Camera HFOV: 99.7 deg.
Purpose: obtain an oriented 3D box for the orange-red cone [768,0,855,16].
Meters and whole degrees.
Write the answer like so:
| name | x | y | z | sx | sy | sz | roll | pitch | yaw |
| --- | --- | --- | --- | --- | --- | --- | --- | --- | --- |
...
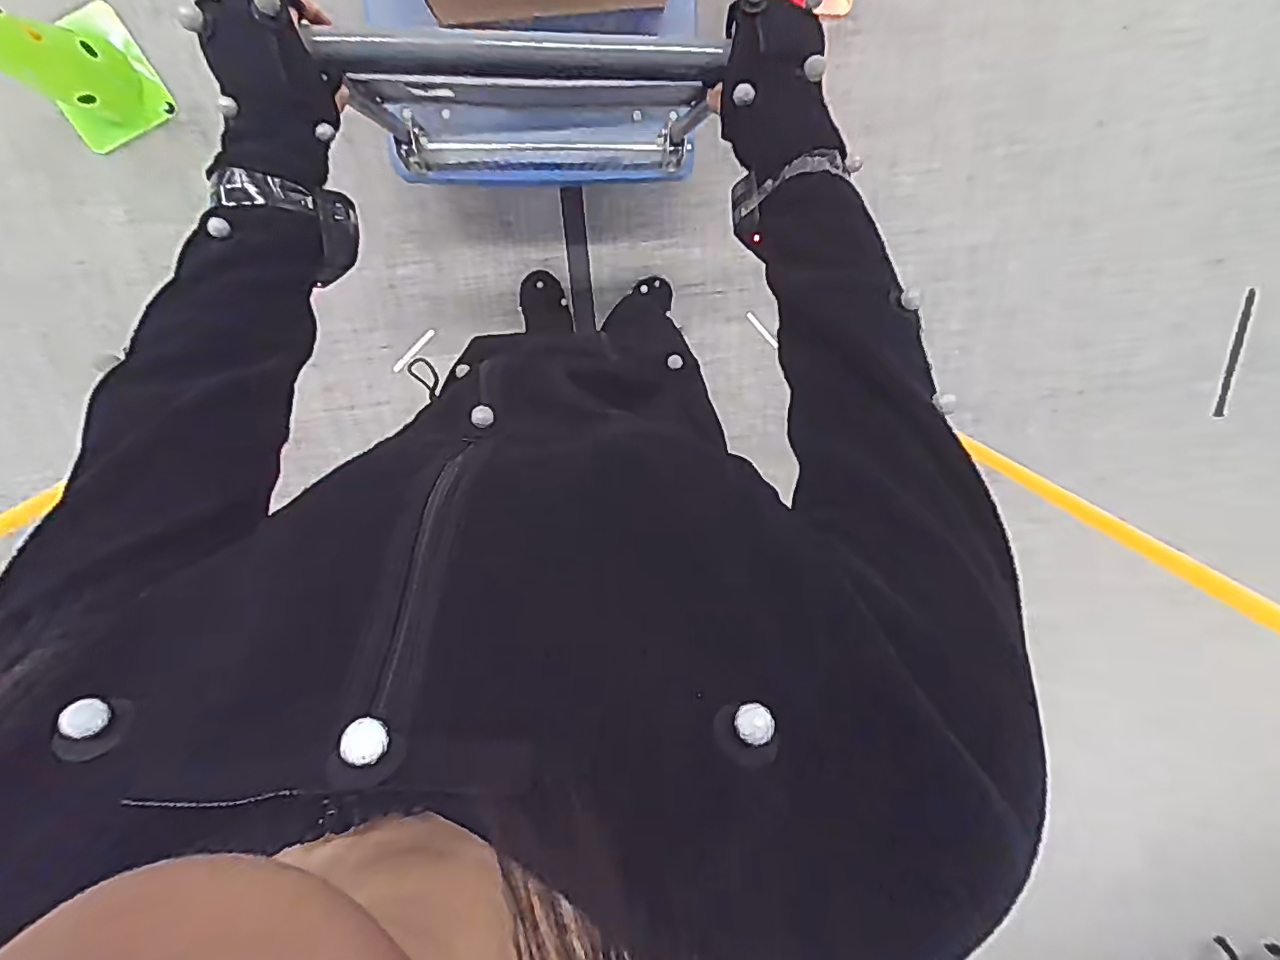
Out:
| name | x | y | z | sx | sy | sz | roll | pitch | yaw |
| --- | --- | --- | --- | --- | --- | --- | --- | --- | --- |
| orange-red cone | 0.379 | -1.011 | 0.939 | 0.199 | 0.360 | 0.198 | -1 | 111 | -8 |
